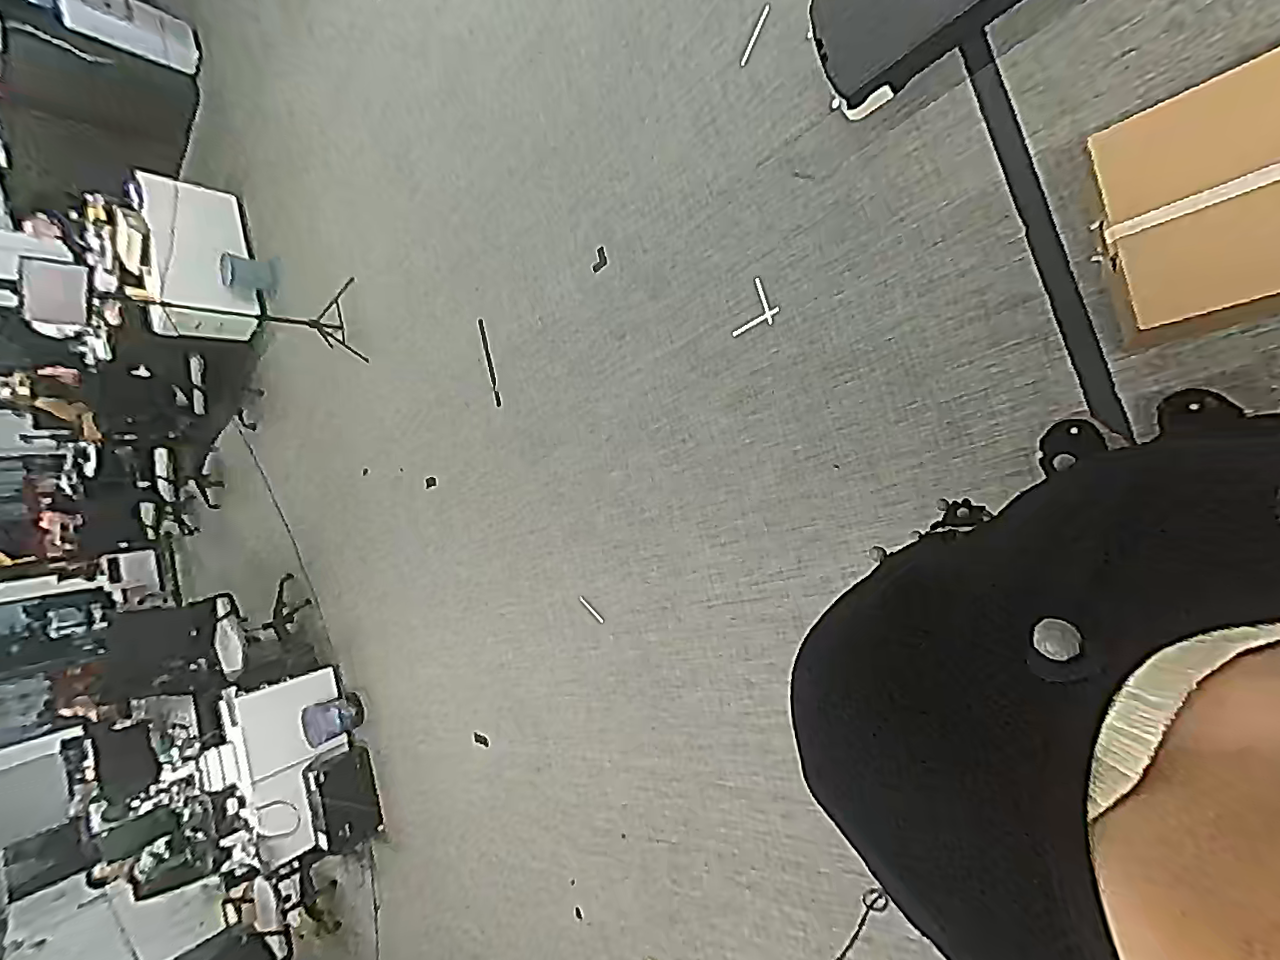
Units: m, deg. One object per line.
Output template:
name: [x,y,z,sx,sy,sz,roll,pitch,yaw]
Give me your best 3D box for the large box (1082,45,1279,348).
large box: [0.958,-0.429,0.812,0.408,0.320,0.320,-15,85,39]
